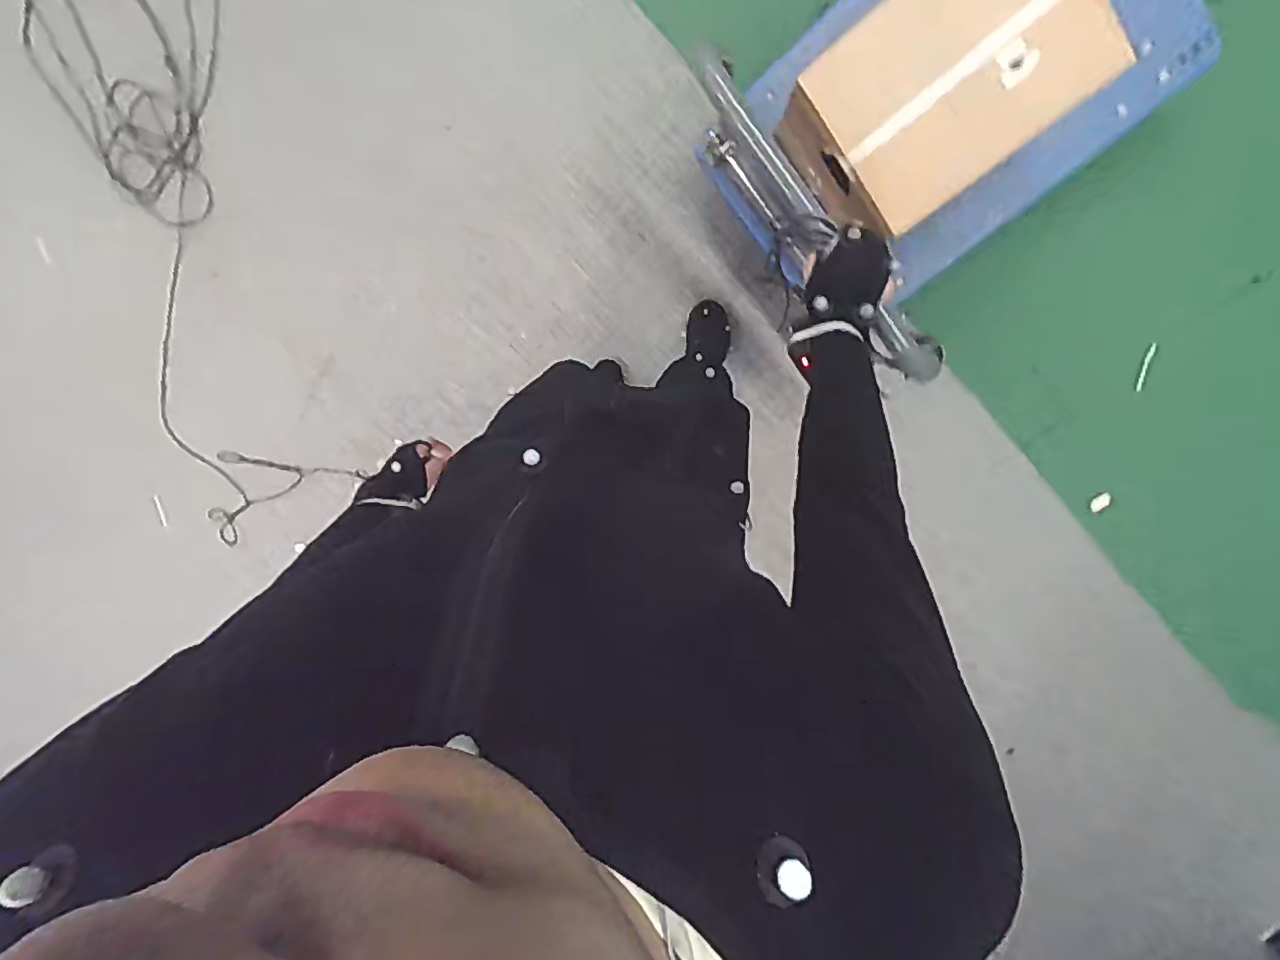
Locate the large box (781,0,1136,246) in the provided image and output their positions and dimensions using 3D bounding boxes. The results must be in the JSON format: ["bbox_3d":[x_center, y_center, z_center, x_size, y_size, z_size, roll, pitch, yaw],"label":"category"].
[{"bbox_3d":[0.526,-0.698,0.988,0.408,0.320,0.320,-34,103,16],"label":"large box"}]
